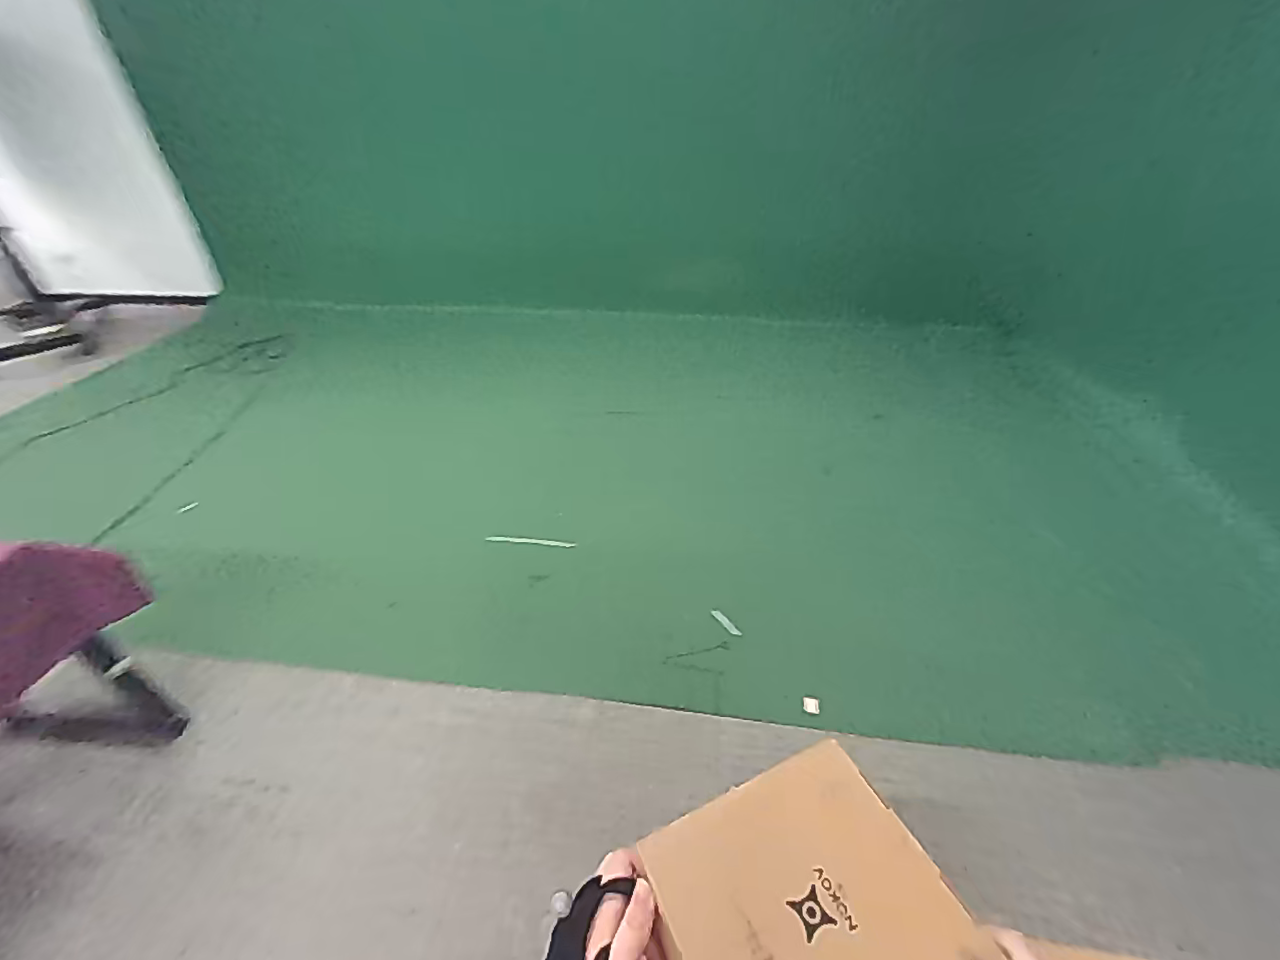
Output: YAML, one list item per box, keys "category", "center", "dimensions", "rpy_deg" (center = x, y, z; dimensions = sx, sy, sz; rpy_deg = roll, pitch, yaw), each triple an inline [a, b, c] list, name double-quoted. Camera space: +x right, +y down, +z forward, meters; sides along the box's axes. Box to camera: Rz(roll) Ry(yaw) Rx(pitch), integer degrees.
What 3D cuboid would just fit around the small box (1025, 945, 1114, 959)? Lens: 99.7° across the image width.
- category: "small box"
  center: [0.570, 0.710, 0.662]
  dimensions: [0.179, 0.176, 0.168]
  rpy_deg: [5, 38, 8]
